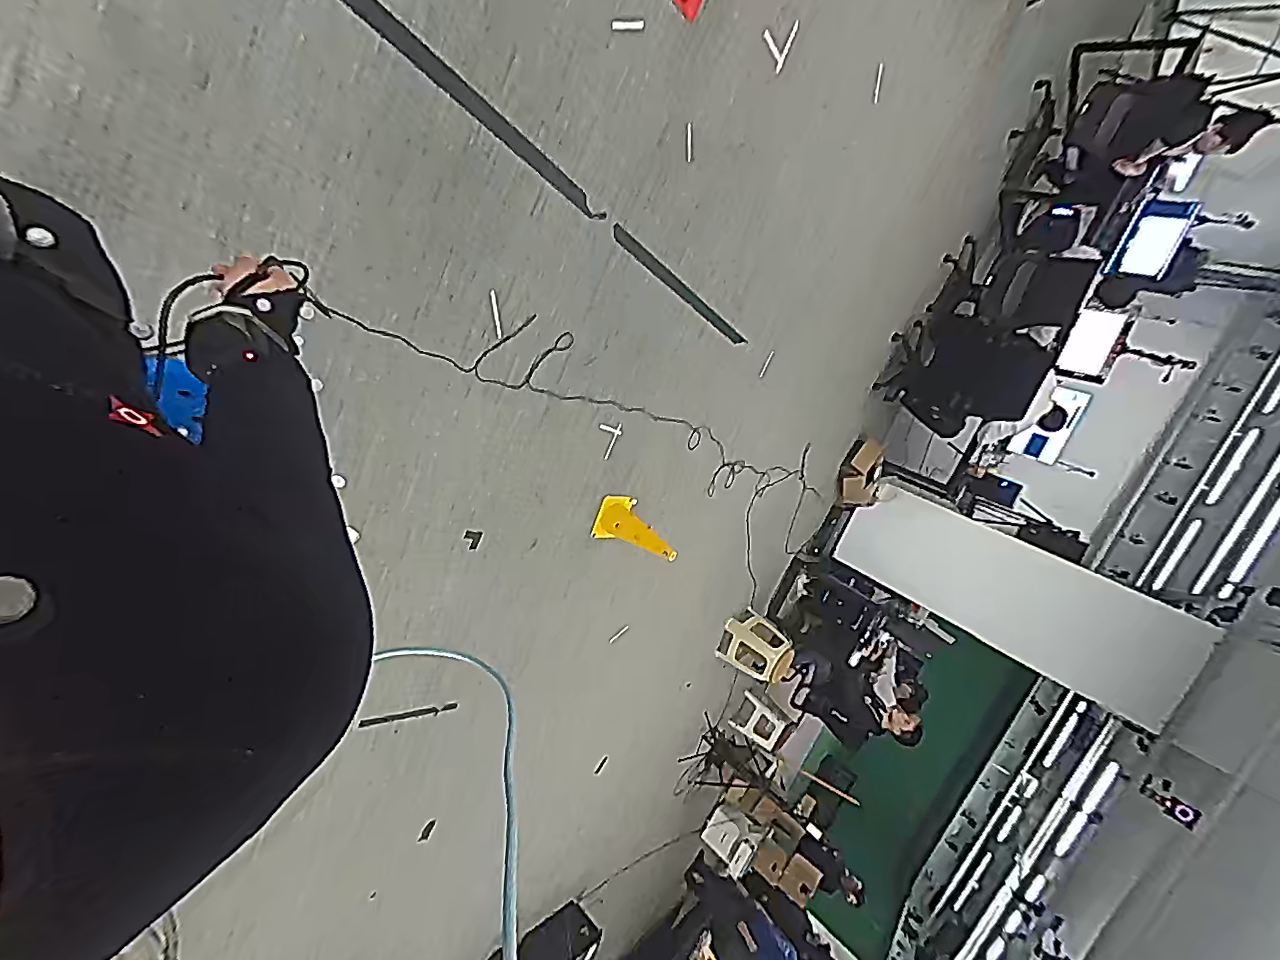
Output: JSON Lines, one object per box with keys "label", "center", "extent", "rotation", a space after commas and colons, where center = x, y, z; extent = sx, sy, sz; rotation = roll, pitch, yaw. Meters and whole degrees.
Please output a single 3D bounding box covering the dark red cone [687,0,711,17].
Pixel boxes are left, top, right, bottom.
{"label": "dark red cone", "center": [0.274, -1.369, 1.394], "extent": [0.202, 0.394, 0.201], "rotation": [3, 113, -52]}
